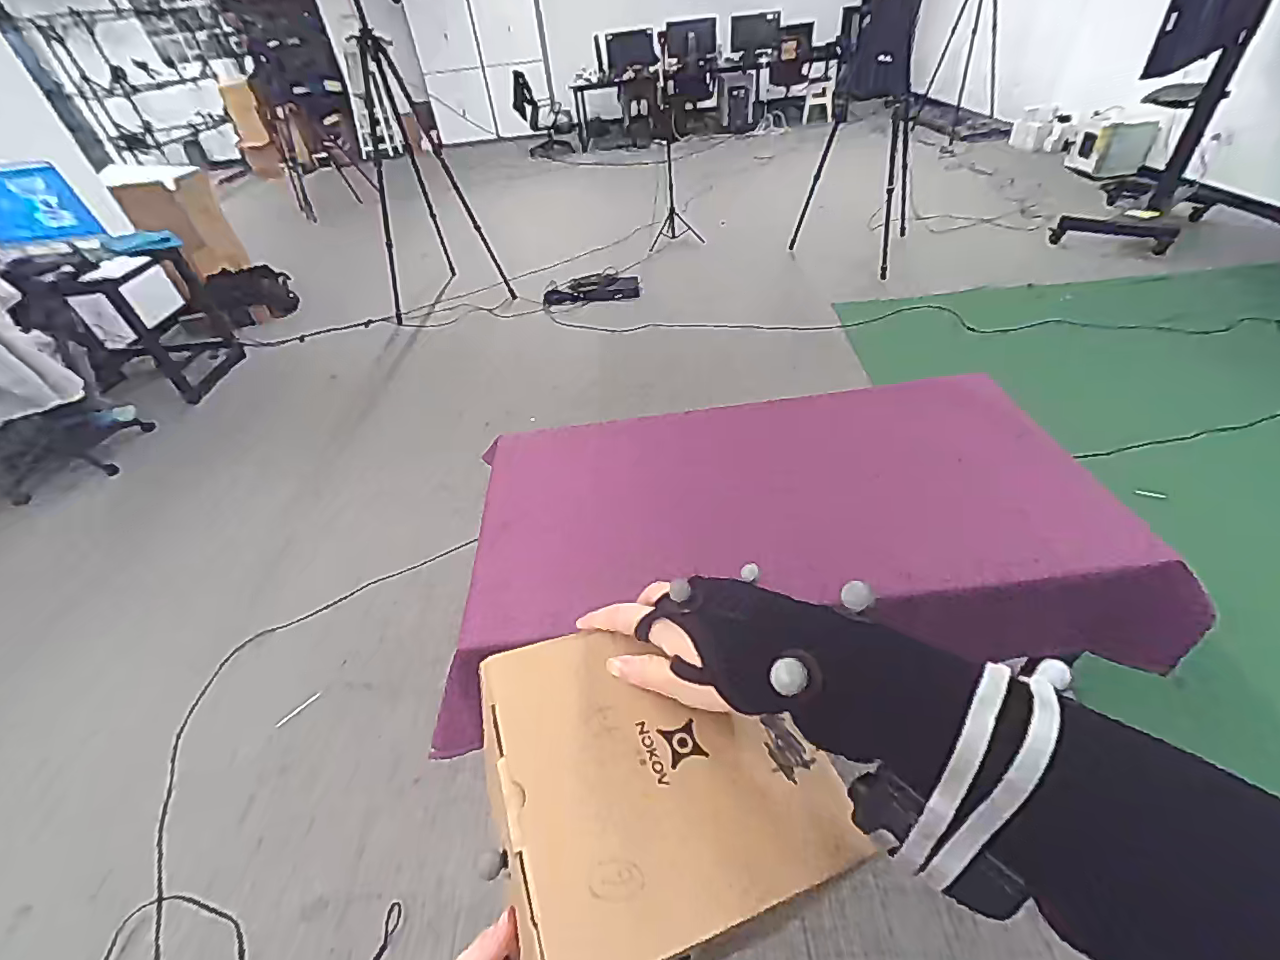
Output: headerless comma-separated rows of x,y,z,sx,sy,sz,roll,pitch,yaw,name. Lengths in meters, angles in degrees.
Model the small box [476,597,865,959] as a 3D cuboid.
-0.001,0.207,0.352,0.179,0.176,0.168,-8,45,-22,small box
